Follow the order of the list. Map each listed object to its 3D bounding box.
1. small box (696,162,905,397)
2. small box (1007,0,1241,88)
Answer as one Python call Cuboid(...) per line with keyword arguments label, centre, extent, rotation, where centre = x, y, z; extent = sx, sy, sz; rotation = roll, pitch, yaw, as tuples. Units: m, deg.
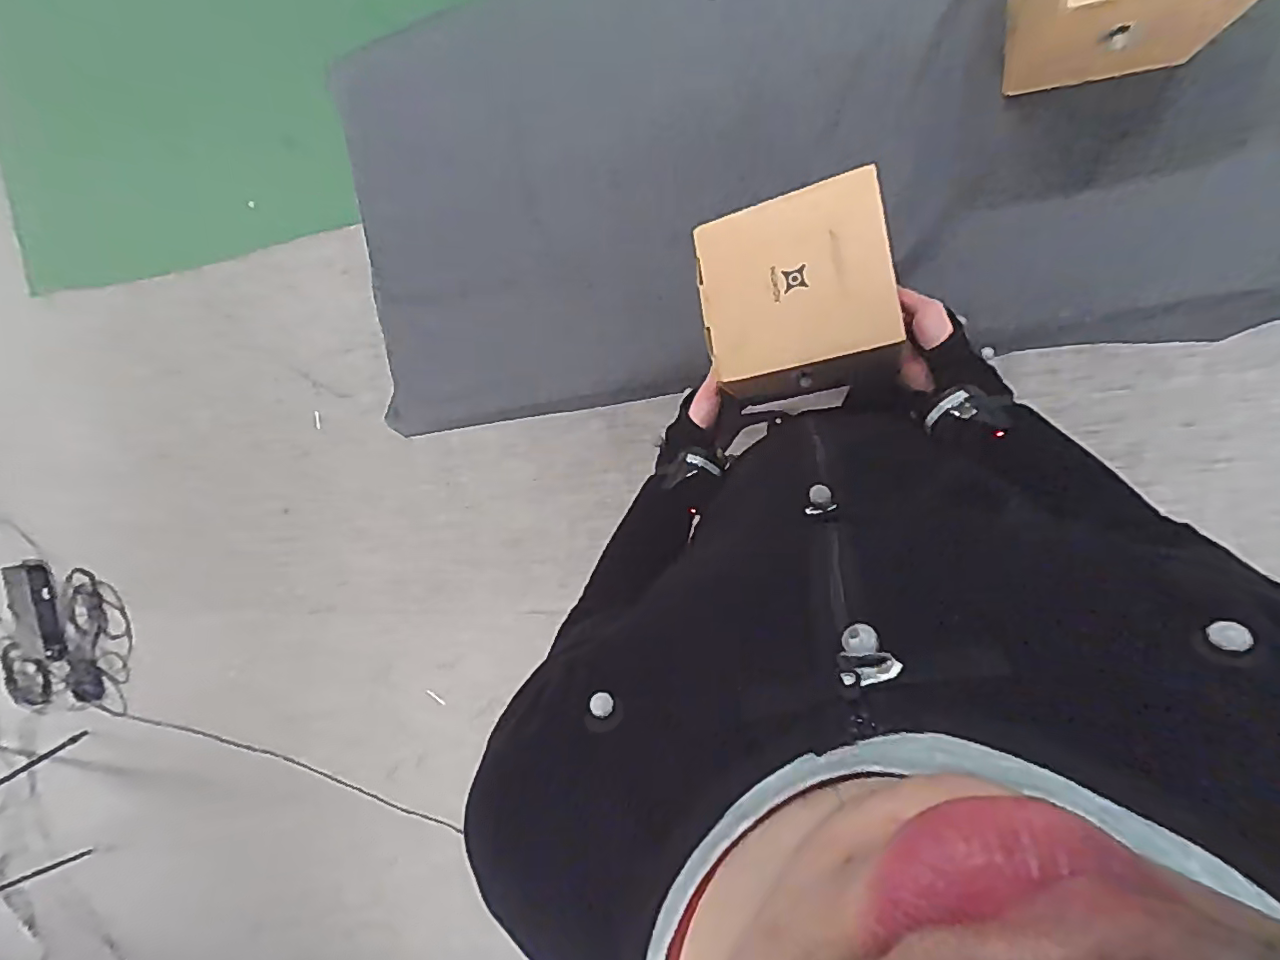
Cuboid(label="small box", centre=(0.176, -0.194, 0.587), extent=(0.179, 0.176, 0.168), rotation=(-10, 87, 22))
Cuboid(label="small box", centre=(0.483, -0.521, 0.526), extent=(0.179, 0.176, 0.168), rotation=(0, 102, 18))
